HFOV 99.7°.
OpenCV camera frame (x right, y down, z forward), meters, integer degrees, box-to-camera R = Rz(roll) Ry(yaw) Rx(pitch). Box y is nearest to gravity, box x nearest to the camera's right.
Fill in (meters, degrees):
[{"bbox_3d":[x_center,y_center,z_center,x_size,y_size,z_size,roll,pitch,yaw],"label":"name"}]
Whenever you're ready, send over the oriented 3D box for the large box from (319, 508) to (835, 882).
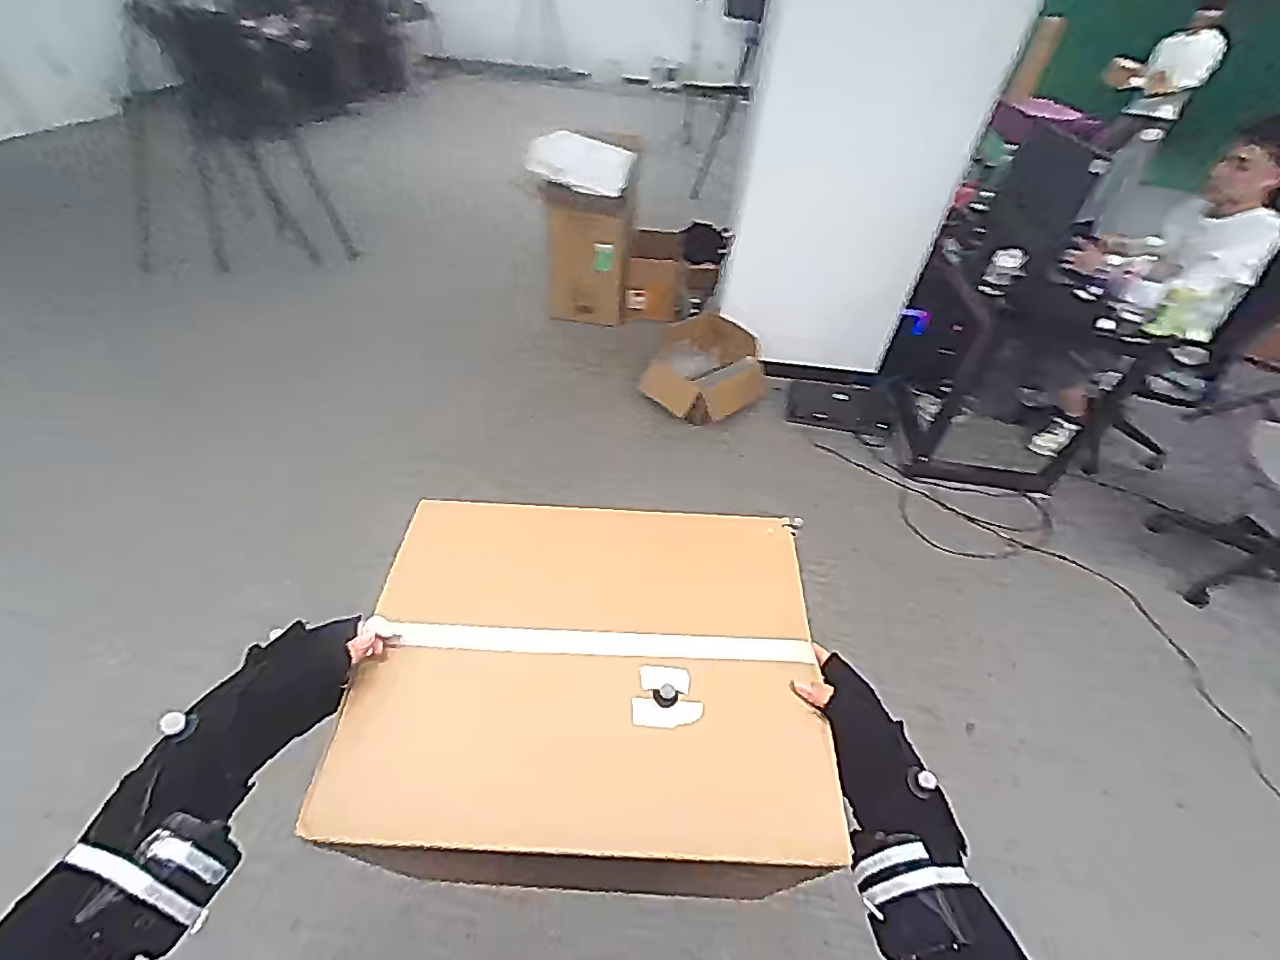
[{"bbox_3d":[-0.051,0.252,0.618,0.408,0.320,0.320,3,49,-1],"label":"large box"}]
